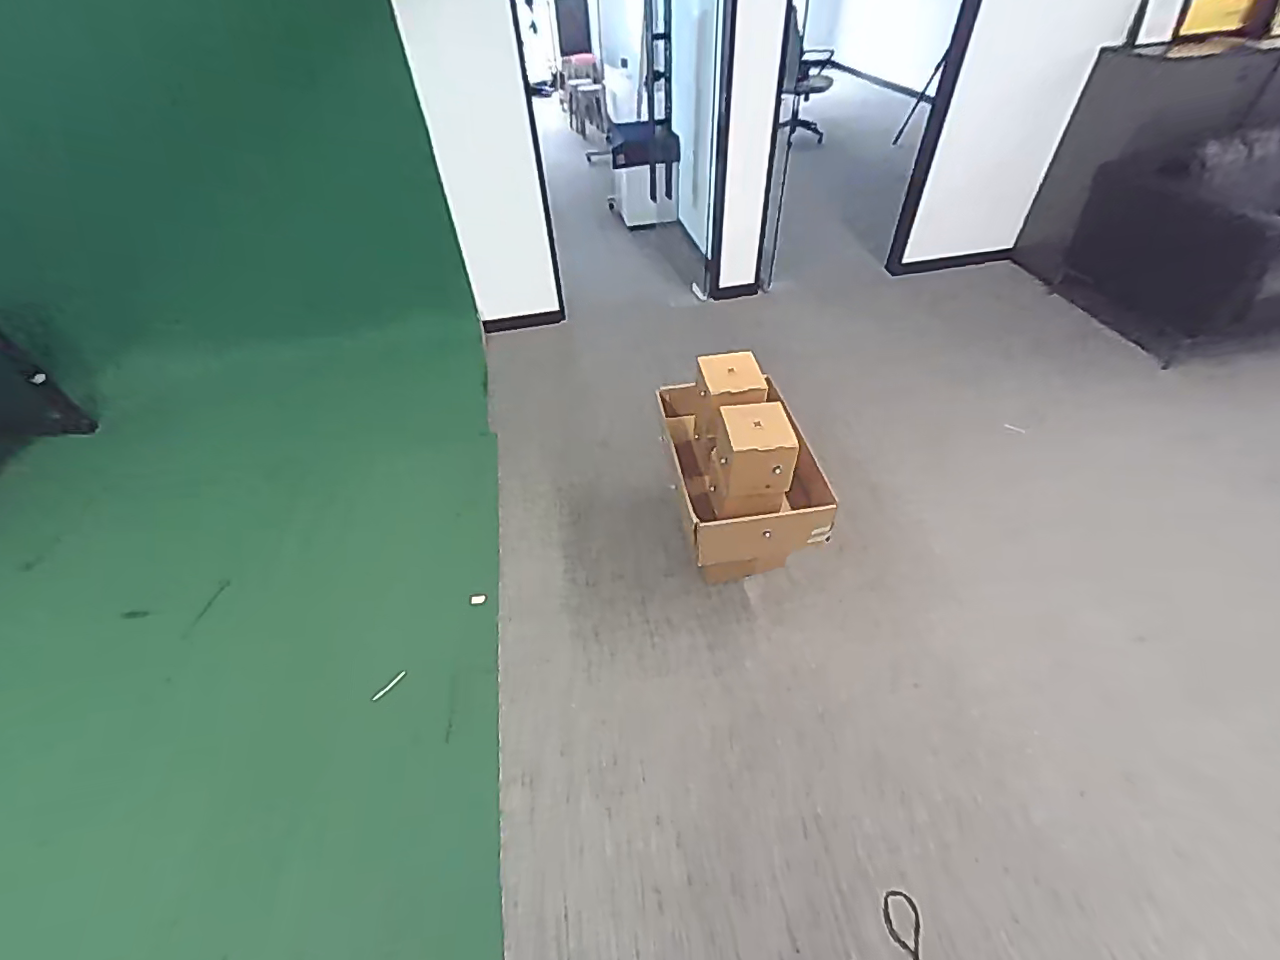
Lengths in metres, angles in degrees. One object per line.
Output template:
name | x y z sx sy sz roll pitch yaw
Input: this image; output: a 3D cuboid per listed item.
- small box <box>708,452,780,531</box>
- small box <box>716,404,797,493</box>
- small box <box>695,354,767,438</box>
small box | 0.294 0.031 1.545 0.168 0.176 0.179 -6 45 -4
small box | 0.298 -0.078 1.423 0.168 0.176 0.179 -4 45 -3
small box | 0.260 -0.248 1.596 0.168 0.176 0.179 -7 48 -5
